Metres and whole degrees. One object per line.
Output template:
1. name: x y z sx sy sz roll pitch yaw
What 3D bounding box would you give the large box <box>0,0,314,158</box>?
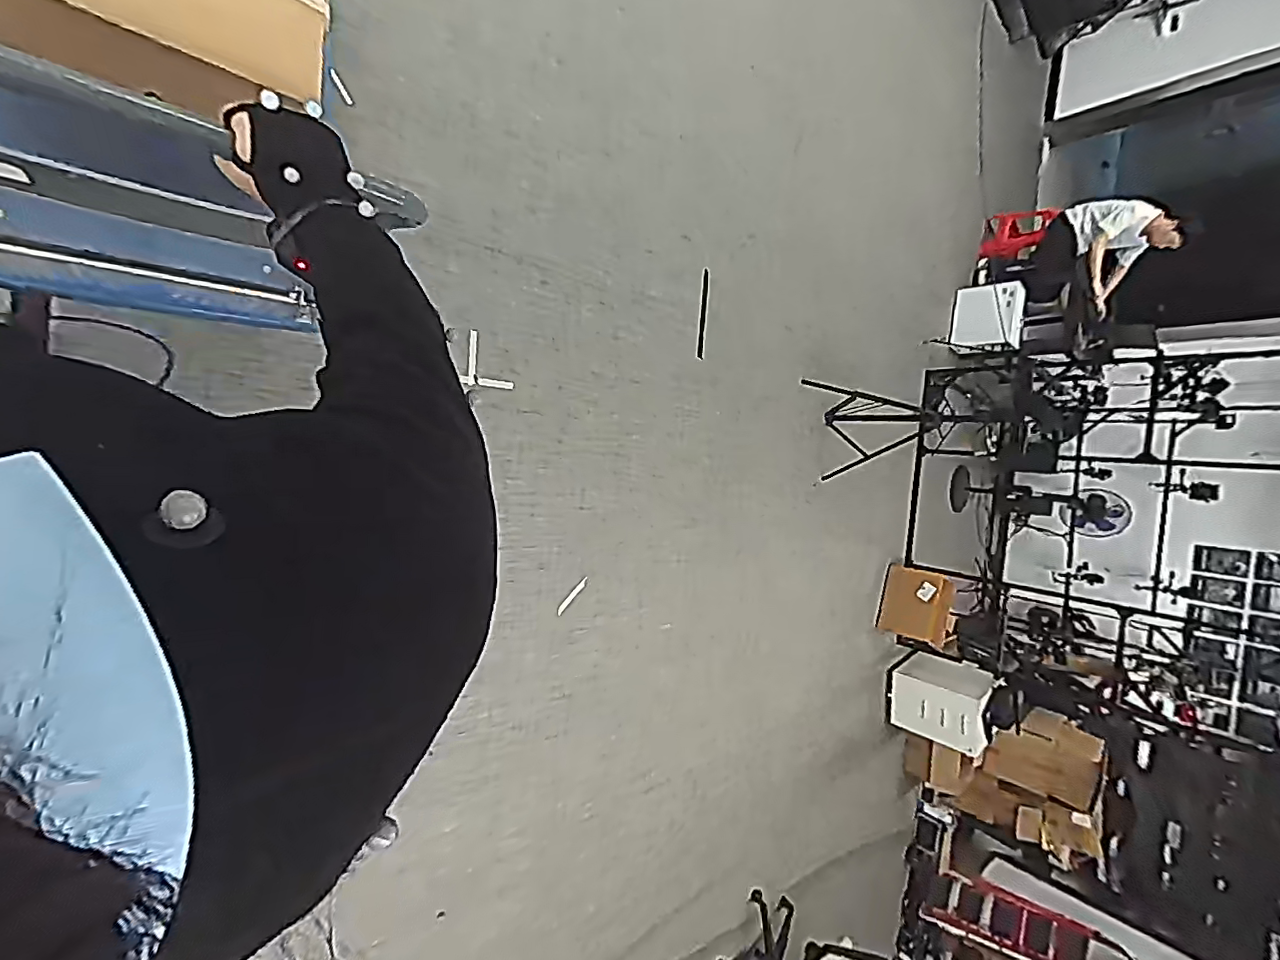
1. large box: -0.767 -0.778 0.841 0.408 0.320 0.320 0 94 -42
